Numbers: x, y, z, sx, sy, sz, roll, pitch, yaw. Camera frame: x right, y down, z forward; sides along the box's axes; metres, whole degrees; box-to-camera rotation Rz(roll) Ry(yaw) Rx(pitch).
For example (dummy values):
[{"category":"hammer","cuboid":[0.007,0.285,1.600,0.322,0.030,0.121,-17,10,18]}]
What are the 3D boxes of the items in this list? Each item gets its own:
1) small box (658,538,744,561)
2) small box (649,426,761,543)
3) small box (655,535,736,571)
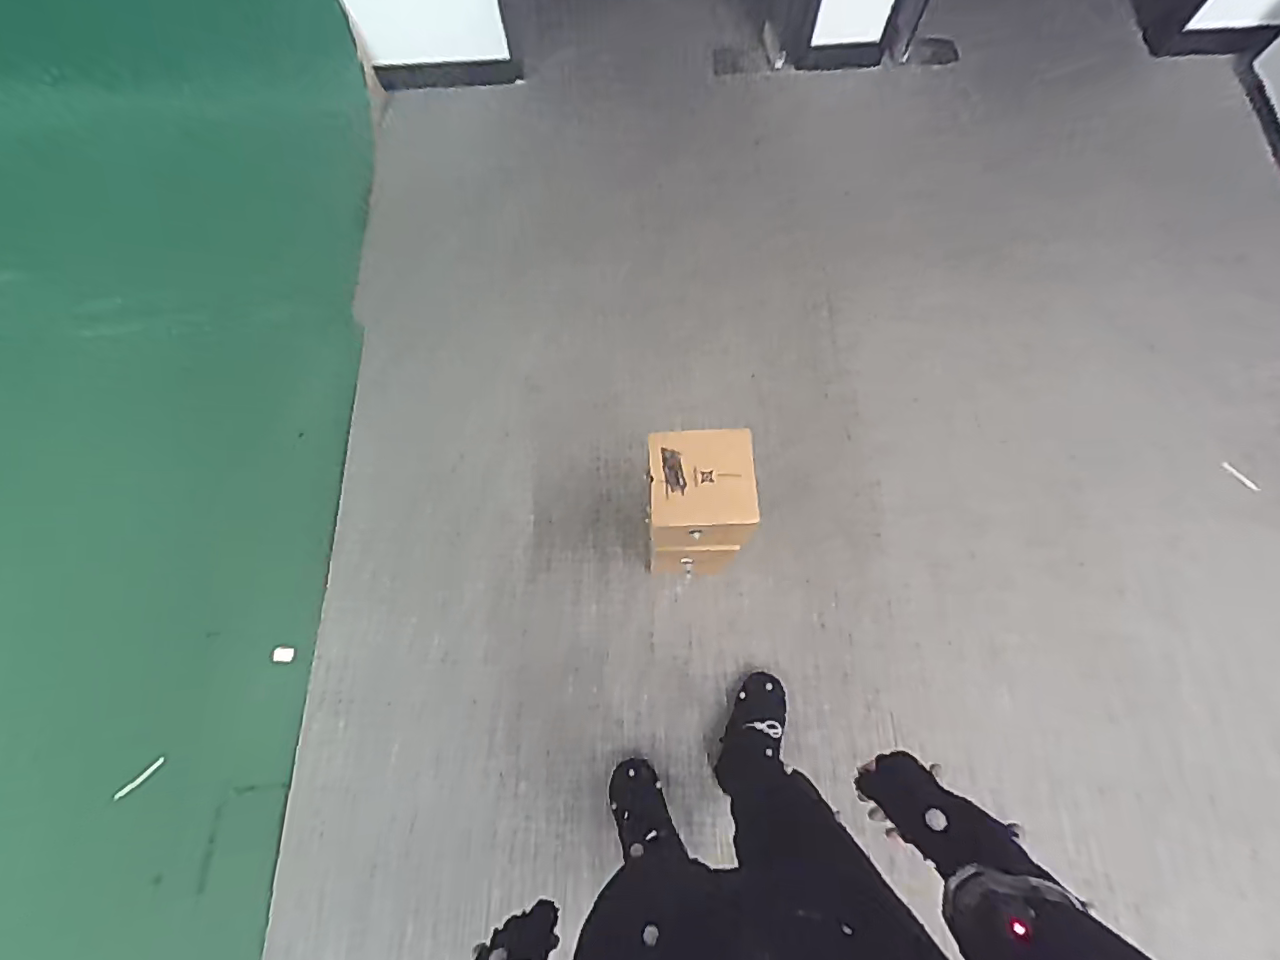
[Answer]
[{"category":"small box","cuboid":[0.120,0.067,1.114,0.168,0.176,0.179,-1,74,4]},{"category":"small box","cuboid":[0.110,0.015,0.959,0.179,0.176,0.168,-2,72,3]},{"category":"small box","cuboid":[0.126,0.118,1.269,0.179,0.176,0.168,1,72,3]}]
